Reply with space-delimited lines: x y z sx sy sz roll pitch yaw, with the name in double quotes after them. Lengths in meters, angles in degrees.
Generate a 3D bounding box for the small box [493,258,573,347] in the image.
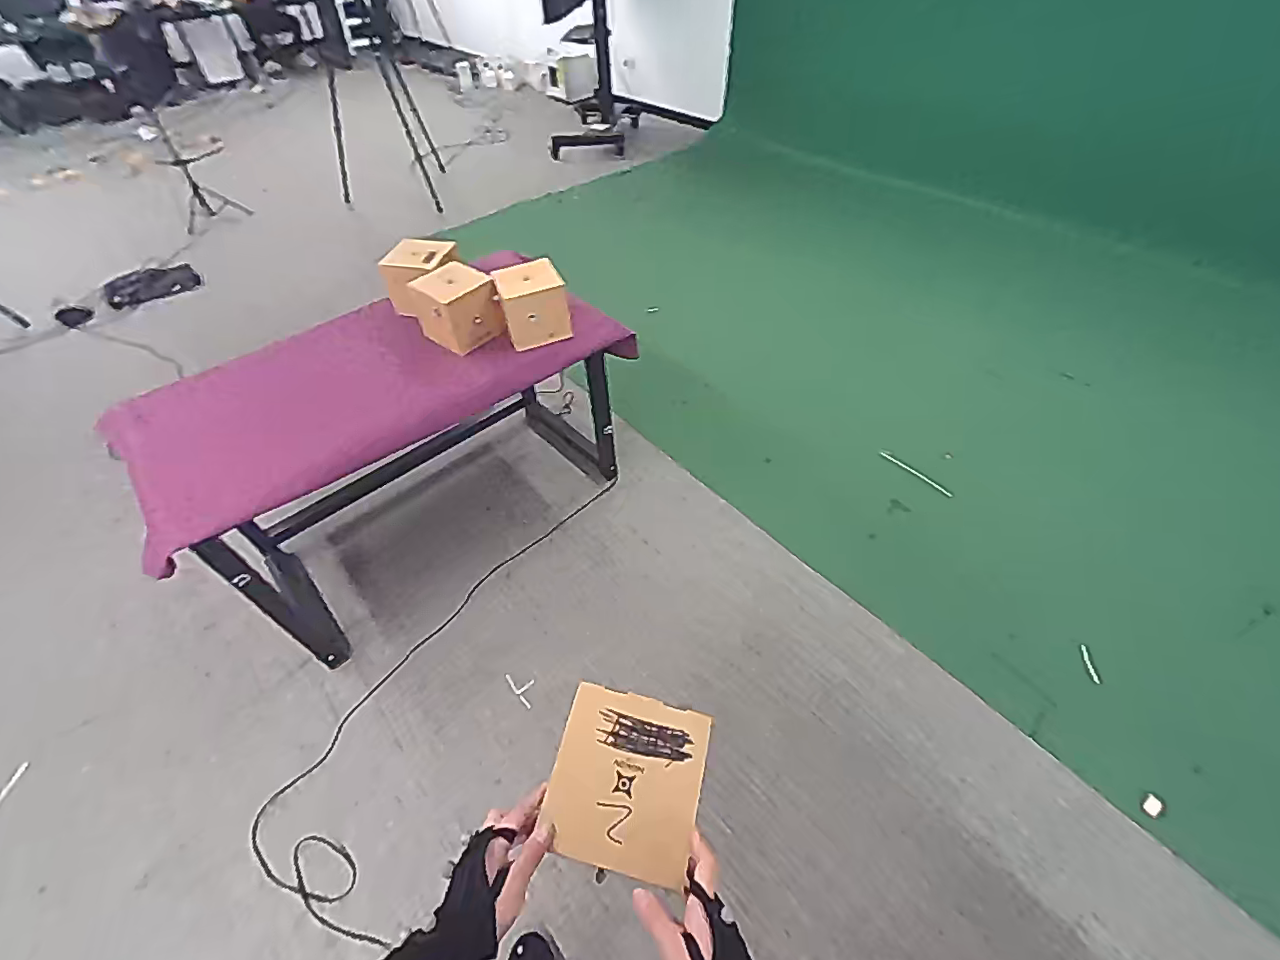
-0.297 -0.493 1.526 0.168 0.176 0.179 -19 48 -12 "small box"
